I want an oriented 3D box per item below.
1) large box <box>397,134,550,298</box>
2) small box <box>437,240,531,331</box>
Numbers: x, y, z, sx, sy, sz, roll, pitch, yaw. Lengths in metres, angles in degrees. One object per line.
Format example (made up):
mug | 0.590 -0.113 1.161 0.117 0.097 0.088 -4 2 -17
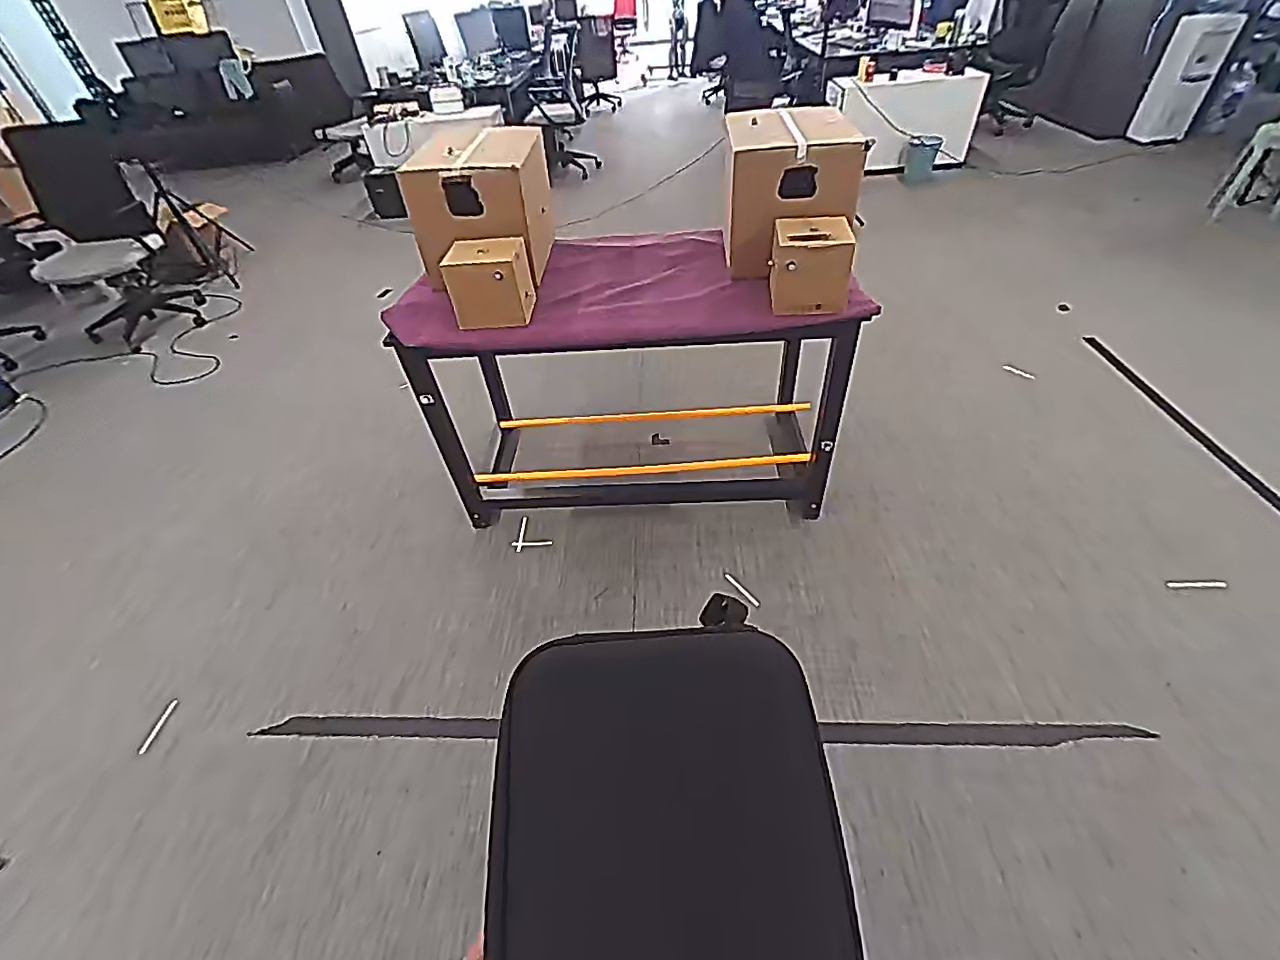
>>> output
large box | -0.449 -0.772 1.571 0.320 0.320 0.408 -2 46 2
small box | -0.388 -0.491 1.374 0.179 0.176 0.168 -3 43 1
